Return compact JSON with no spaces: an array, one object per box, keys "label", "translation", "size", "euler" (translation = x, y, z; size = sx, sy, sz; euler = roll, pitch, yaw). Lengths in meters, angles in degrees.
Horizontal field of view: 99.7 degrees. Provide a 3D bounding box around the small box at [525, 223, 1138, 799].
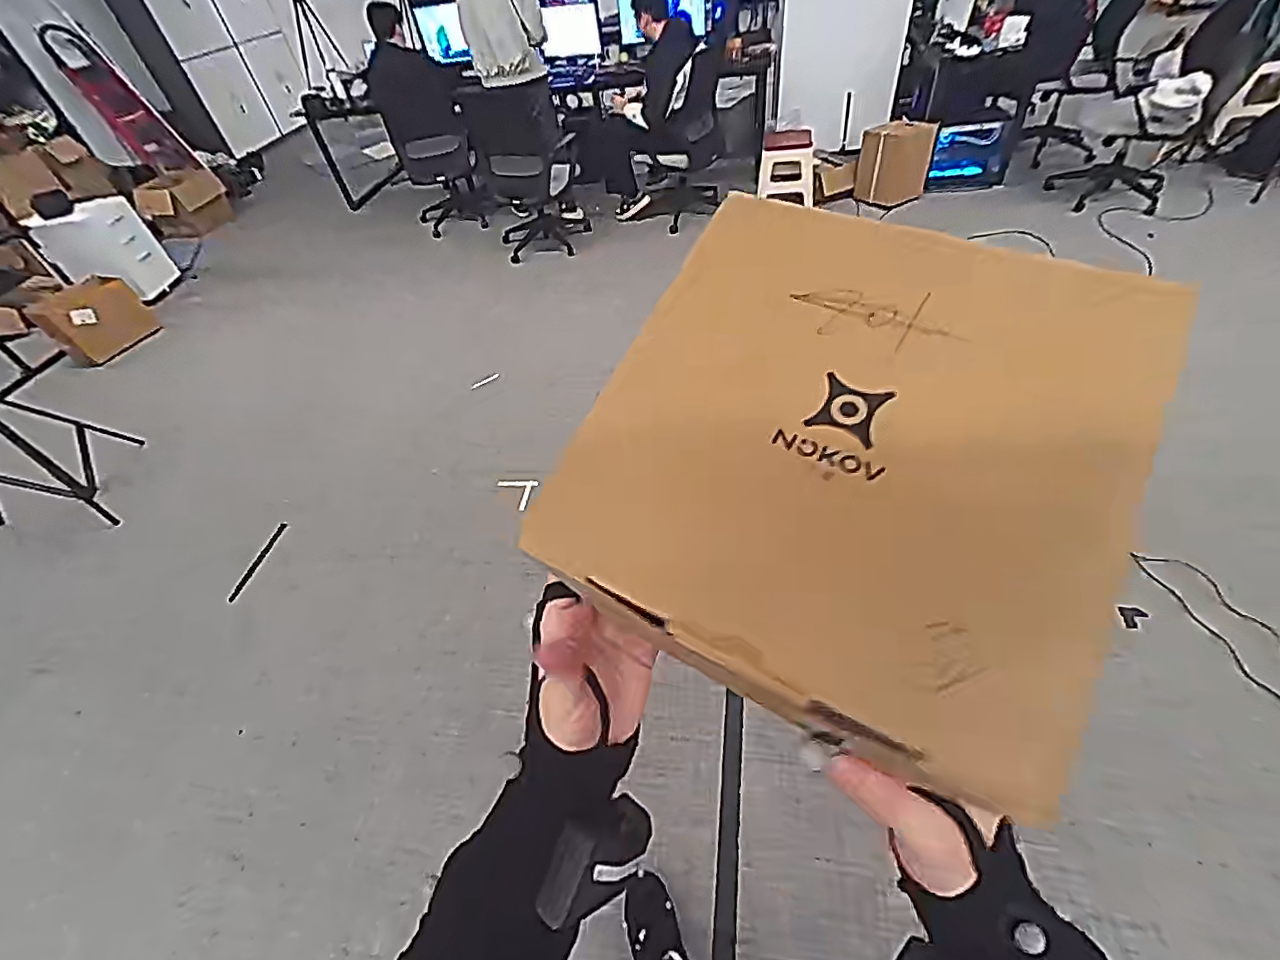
[{"label":"small box","translation":[0.080,0.017,0.264],"size":[0.168,0.176,0.179],"euler":[22,71,19]}]
